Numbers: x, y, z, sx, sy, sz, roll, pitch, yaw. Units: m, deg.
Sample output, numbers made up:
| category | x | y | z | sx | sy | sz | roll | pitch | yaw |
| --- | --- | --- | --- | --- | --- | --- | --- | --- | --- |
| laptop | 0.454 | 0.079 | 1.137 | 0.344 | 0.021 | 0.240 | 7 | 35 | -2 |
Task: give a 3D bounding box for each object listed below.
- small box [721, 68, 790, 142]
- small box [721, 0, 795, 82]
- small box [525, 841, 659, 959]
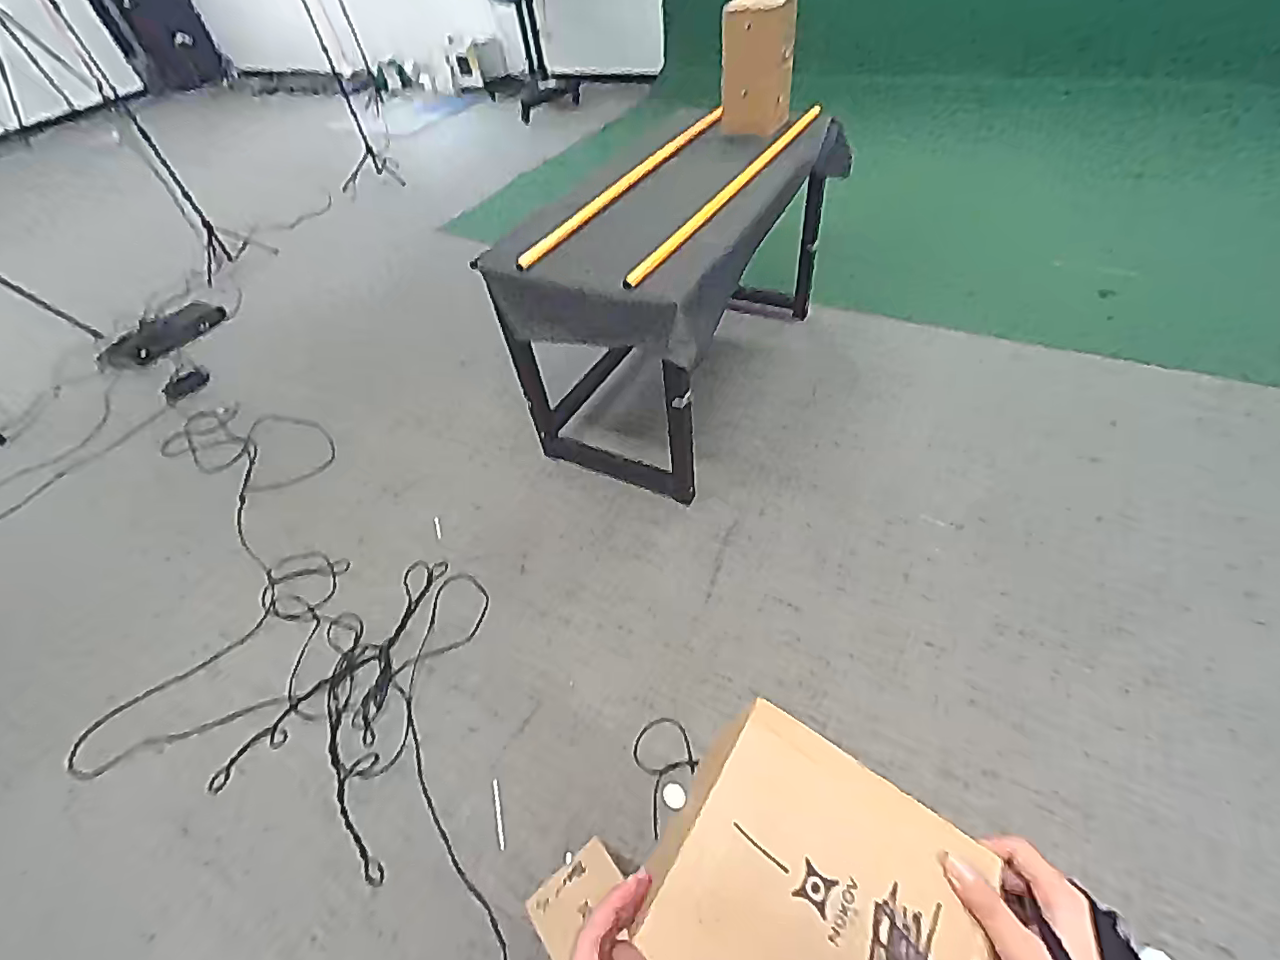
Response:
| category | x | y | z | sx | sy | sz | roll | pitch | yaw |
| --- | --- | --- | --- | --- | --- | --- | --- | --- | --- |
| small box | 0.381 | -1.243 | 1.792 | 0.179 | 0.176 | 0.168 | 20 | 55 | 25 |
| small box | 0.362 | -1.354 | 1.675 | 0.179 | 0.176 | 0.168 | 18 | 55 | 23 |
| small box | -0.080 | 0.813 | 0.995 | 0.168 | 0.176 | 0.179 | -34 | 52 | -20 |
